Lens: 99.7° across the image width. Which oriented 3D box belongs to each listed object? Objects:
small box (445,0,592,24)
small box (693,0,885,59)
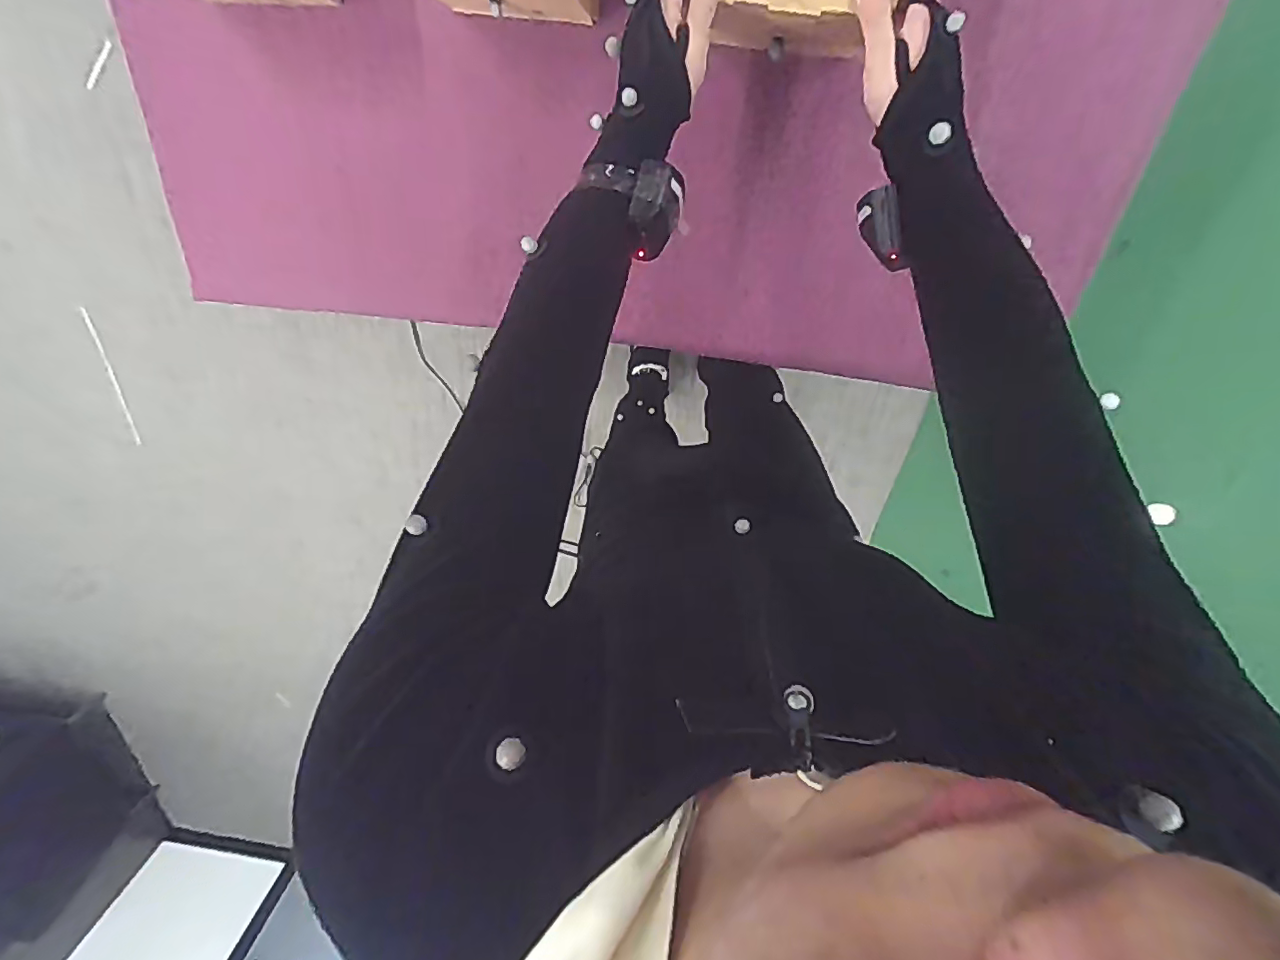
[{"bbox_3d":[-0.137,-0.557,0.499,0.168,0.176,0.179,8,121,4],"label":"small box"},{"bbox_3d":[0.140,-0.507,0.482,0.168,0.176,0.179,10,121,4],"label":"small box"}]
